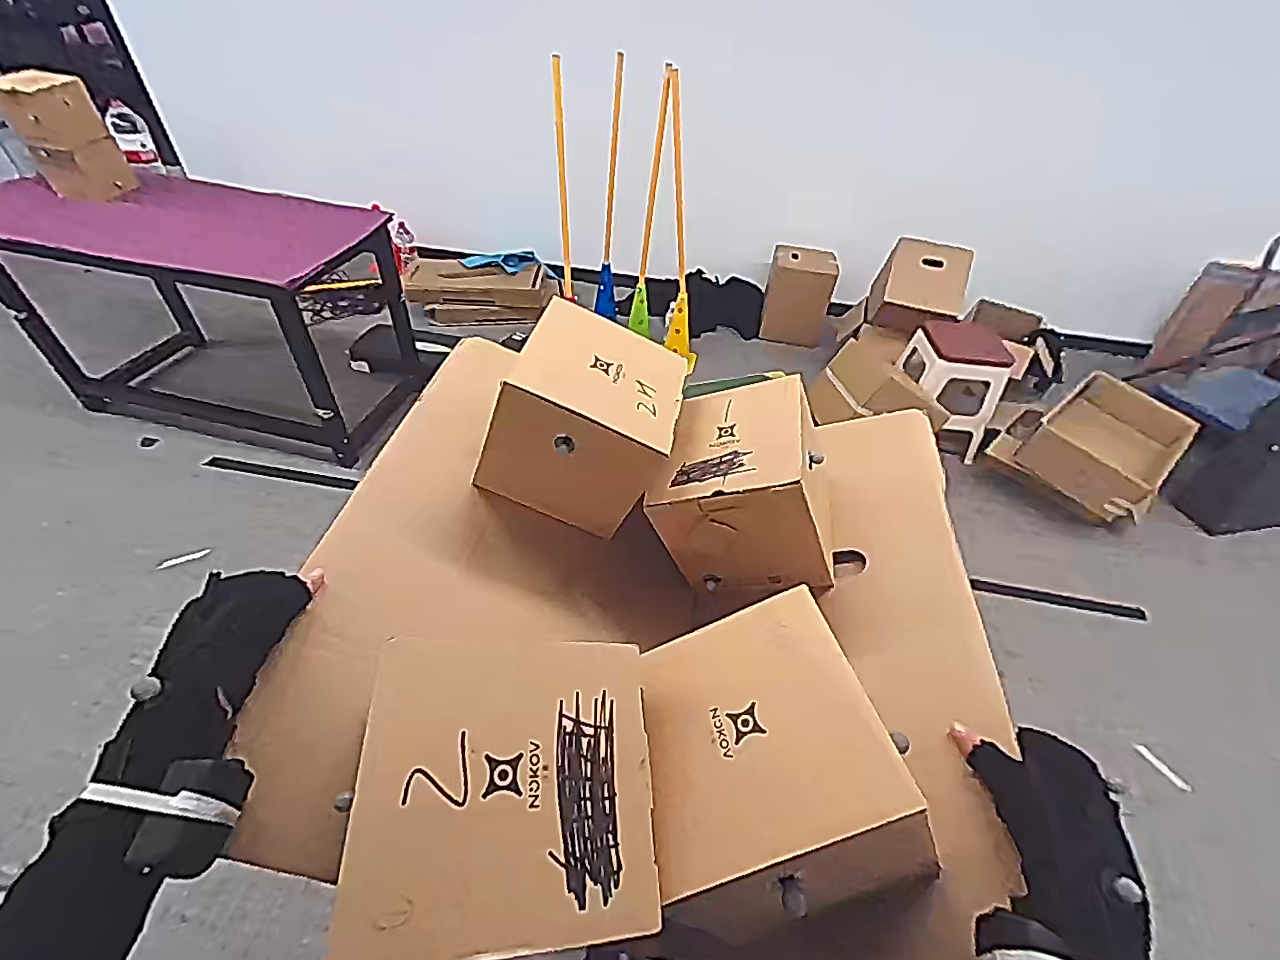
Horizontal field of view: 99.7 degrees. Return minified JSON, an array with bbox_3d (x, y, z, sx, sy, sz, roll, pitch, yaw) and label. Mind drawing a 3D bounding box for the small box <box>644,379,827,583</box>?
[{"bbox_3d":[0.125,0.011,0.649,0.168,0.176,0.179,-9,41,24],"label":"small box"}]
